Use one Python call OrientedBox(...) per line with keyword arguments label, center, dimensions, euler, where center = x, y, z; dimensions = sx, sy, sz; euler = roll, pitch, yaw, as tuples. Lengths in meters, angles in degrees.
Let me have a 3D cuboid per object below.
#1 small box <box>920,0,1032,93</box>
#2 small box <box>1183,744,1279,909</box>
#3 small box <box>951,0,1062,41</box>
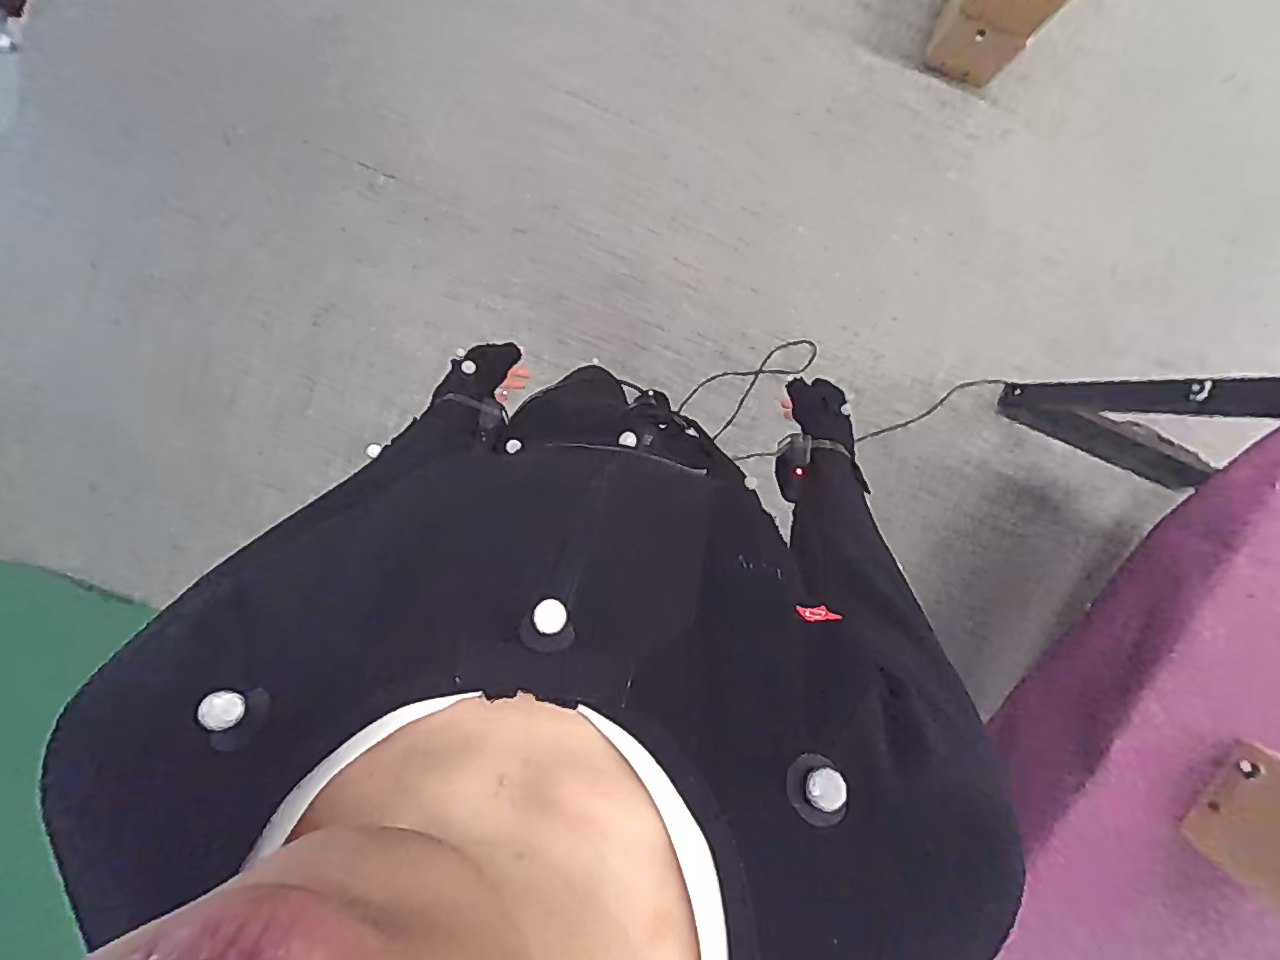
OrientedBox(label="small box", center=(0.764, -1.025, 1.207), dimensions=(0.168, 0.176, 0.179), euler=(21, 98, -1))
OrientedBox(label="small box", center=(0.884, 0.478, 0.696), dimensions=(0.179, 0.176, 0.168), euler=(25, 99, -3))
OrientedBox(label="small box", center=(0.749, -1.007, 1.045), dimensions=(0.179, 0.176, 0.168), euler=(21, 99, -2))
